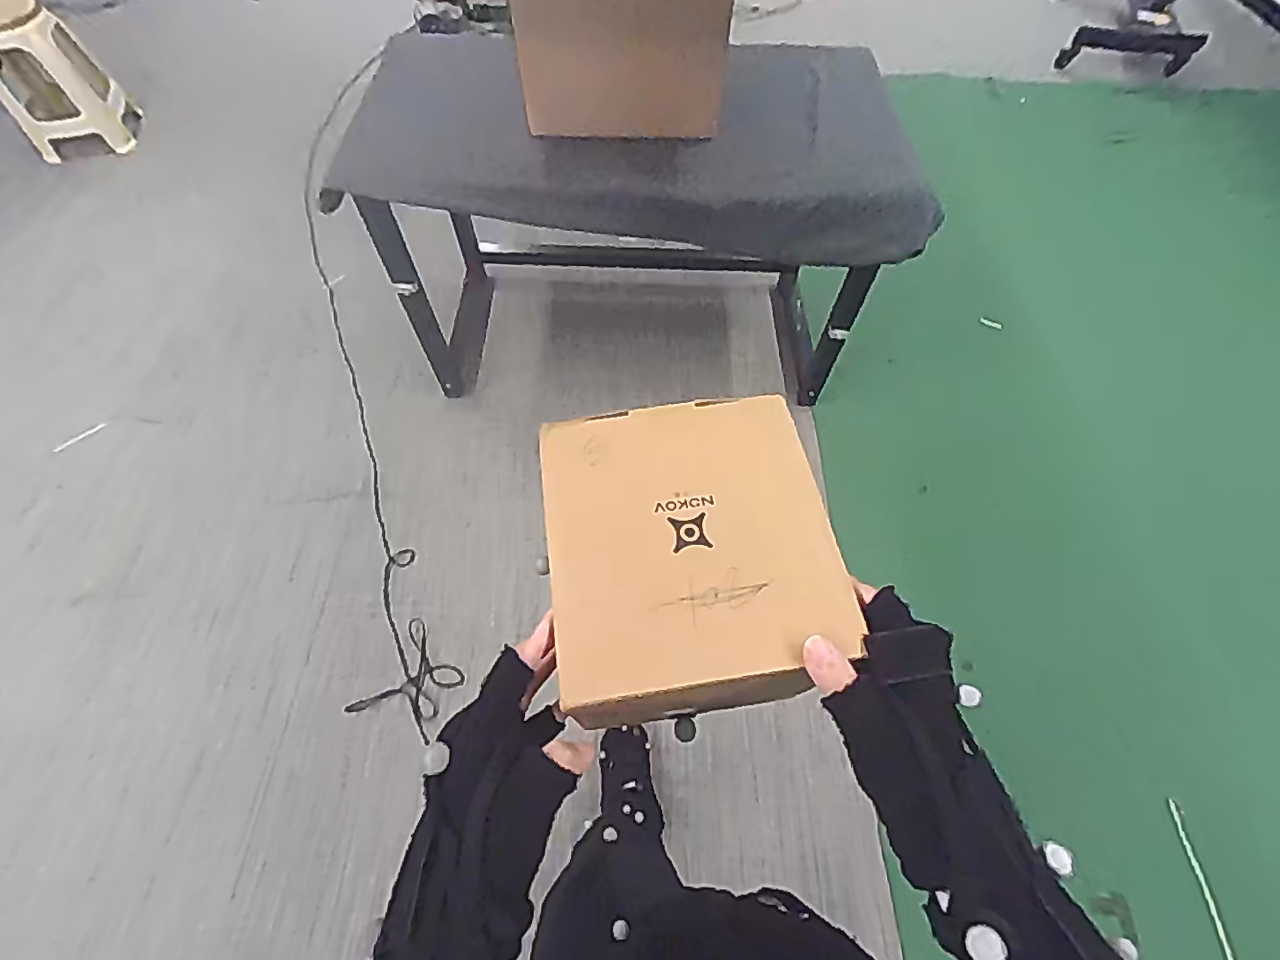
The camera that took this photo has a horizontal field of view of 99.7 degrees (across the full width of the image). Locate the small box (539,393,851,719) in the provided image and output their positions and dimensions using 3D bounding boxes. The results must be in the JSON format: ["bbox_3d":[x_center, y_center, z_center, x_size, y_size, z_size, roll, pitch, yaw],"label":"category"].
[{"bbox_3d":[0.022,0.063,0.396,0.168,0.176,0.179,-8,61,-4],"label":"small box"}]
